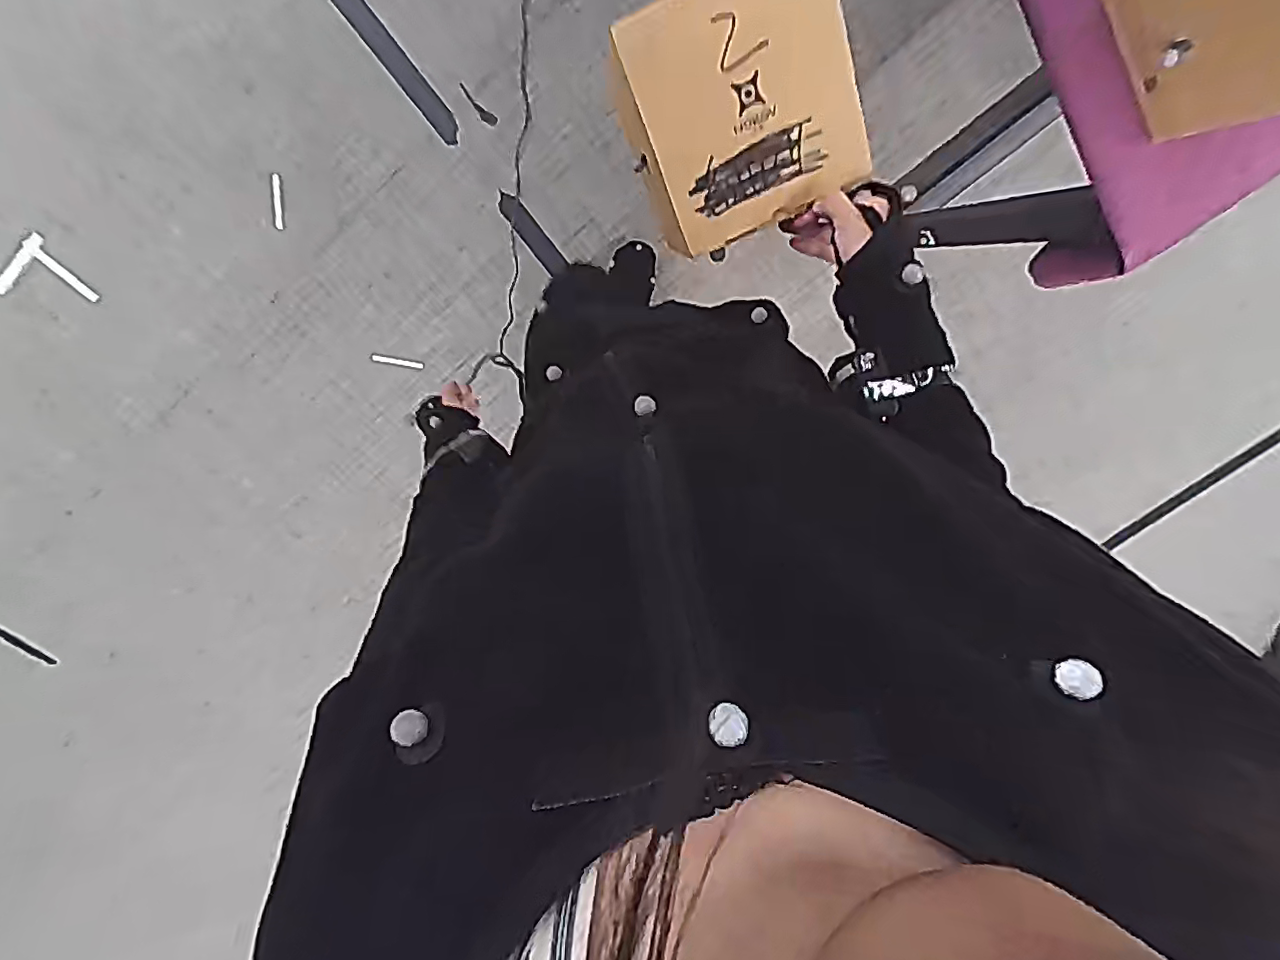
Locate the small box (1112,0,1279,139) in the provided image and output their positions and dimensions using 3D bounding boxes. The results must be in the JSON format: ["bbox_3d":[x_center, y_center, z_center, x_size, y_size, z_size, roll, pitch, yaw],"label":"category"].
[{"bbox_3d":[0.576,-0.437,0.462,0.179,0.176,0.168,-38,109,10],"label":"small box"}]
